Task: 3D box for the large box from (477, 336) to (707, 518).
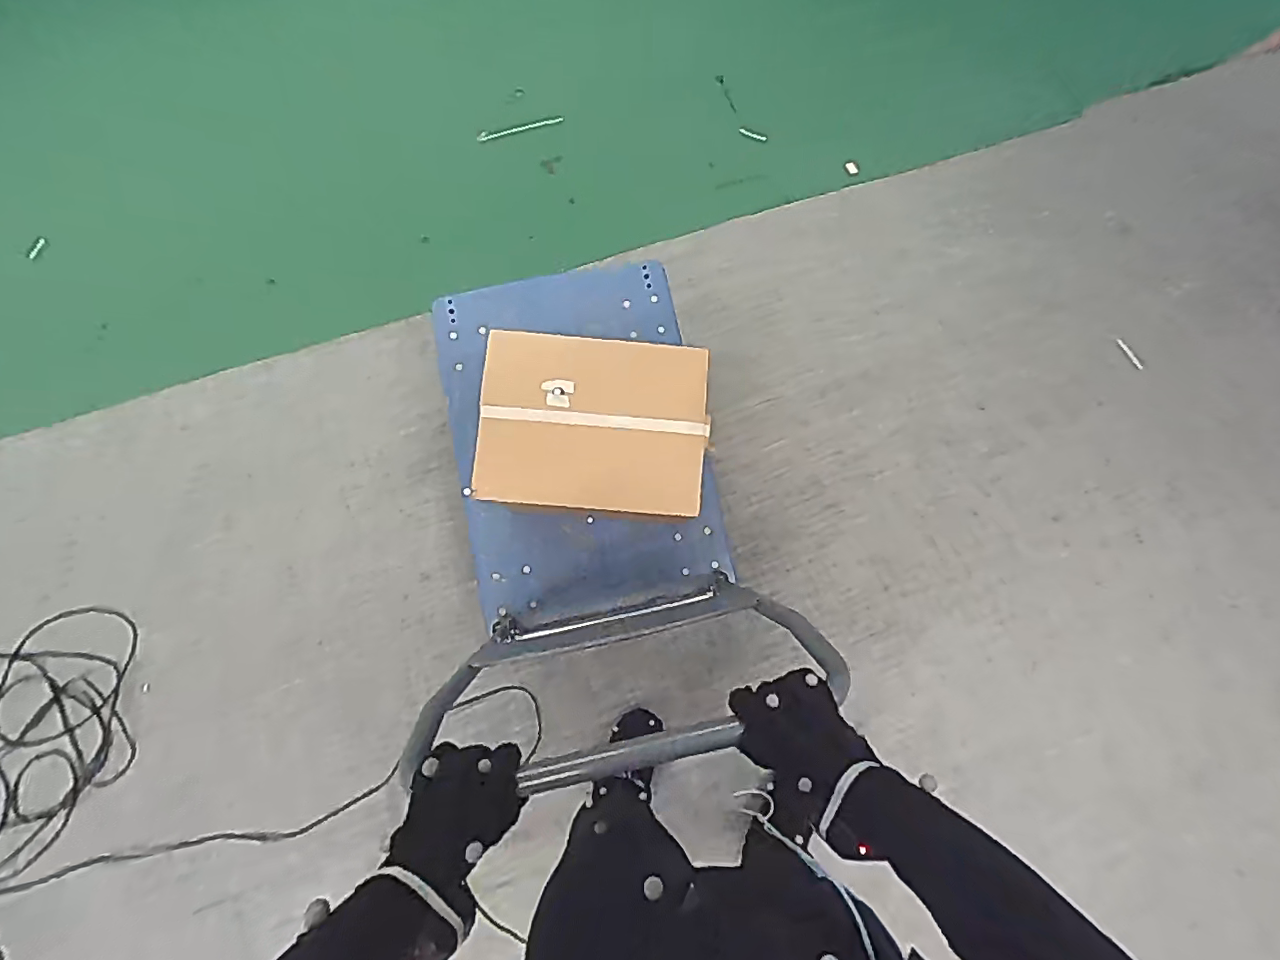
[{"bbox_3d":[-0.083,-0.085,1.115,0.408,0.320,0.320,4,83,-1],"label":"large box"}]
